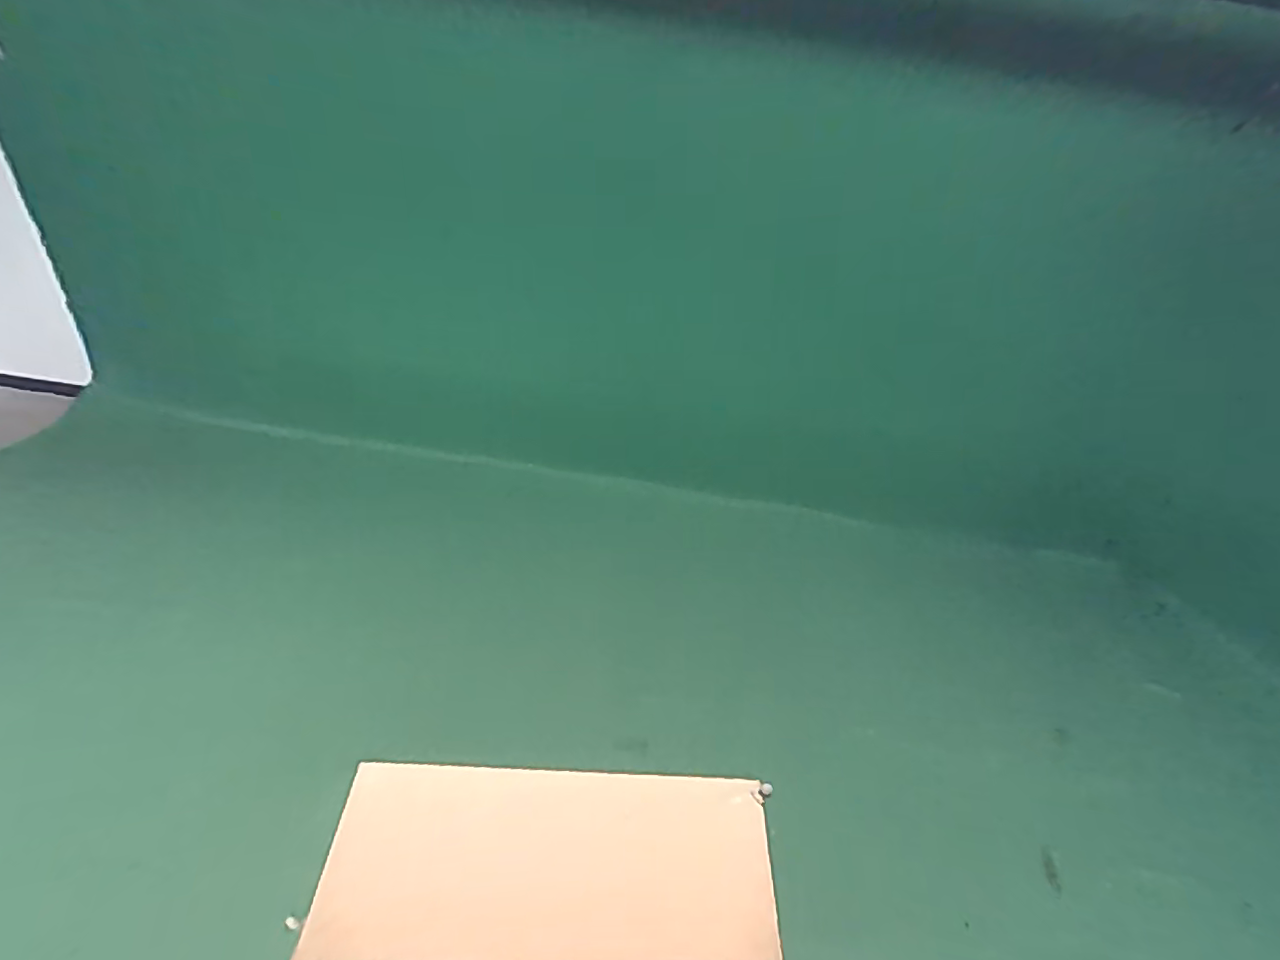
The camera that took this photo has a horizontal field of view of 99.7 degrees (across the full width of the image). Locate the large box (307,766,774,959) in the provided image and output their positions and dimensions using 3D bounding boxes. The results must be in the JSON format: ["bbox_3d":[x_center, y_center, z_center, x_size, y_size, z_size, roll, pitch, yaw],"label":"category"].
[{"bbox_3d":[-0.100,0.515,0.561,0.408,0.320,0.320,6,48,-7],"label":"large box"}]
